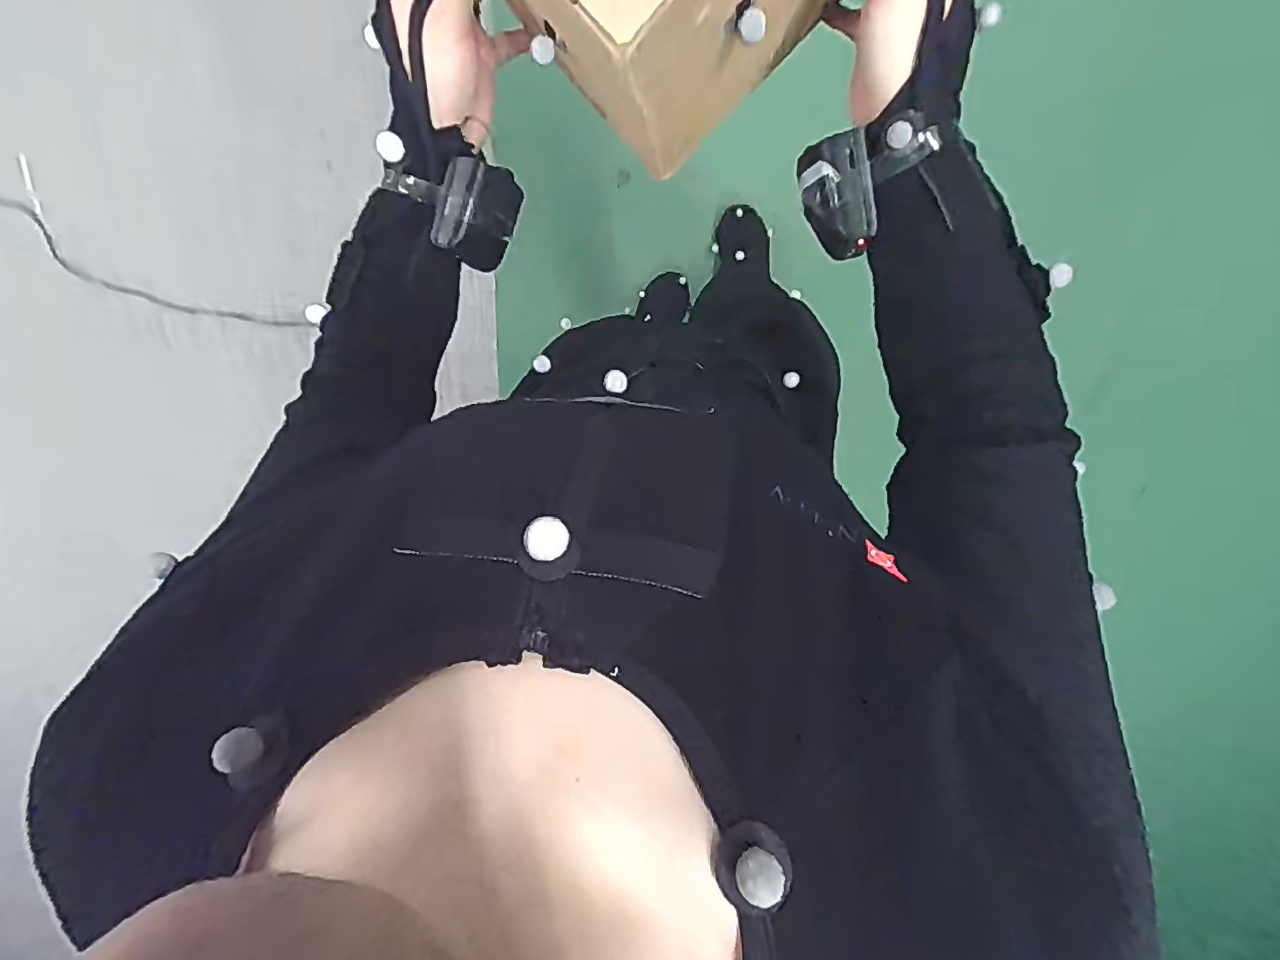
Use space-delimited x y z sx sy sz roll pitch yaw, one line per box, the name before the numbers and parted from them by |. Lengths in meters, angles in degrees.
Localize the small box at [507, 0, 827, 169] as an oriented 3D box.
small box | 0.009 -0.316 0.296 0.179 0.176 0.168 -42 93 15
